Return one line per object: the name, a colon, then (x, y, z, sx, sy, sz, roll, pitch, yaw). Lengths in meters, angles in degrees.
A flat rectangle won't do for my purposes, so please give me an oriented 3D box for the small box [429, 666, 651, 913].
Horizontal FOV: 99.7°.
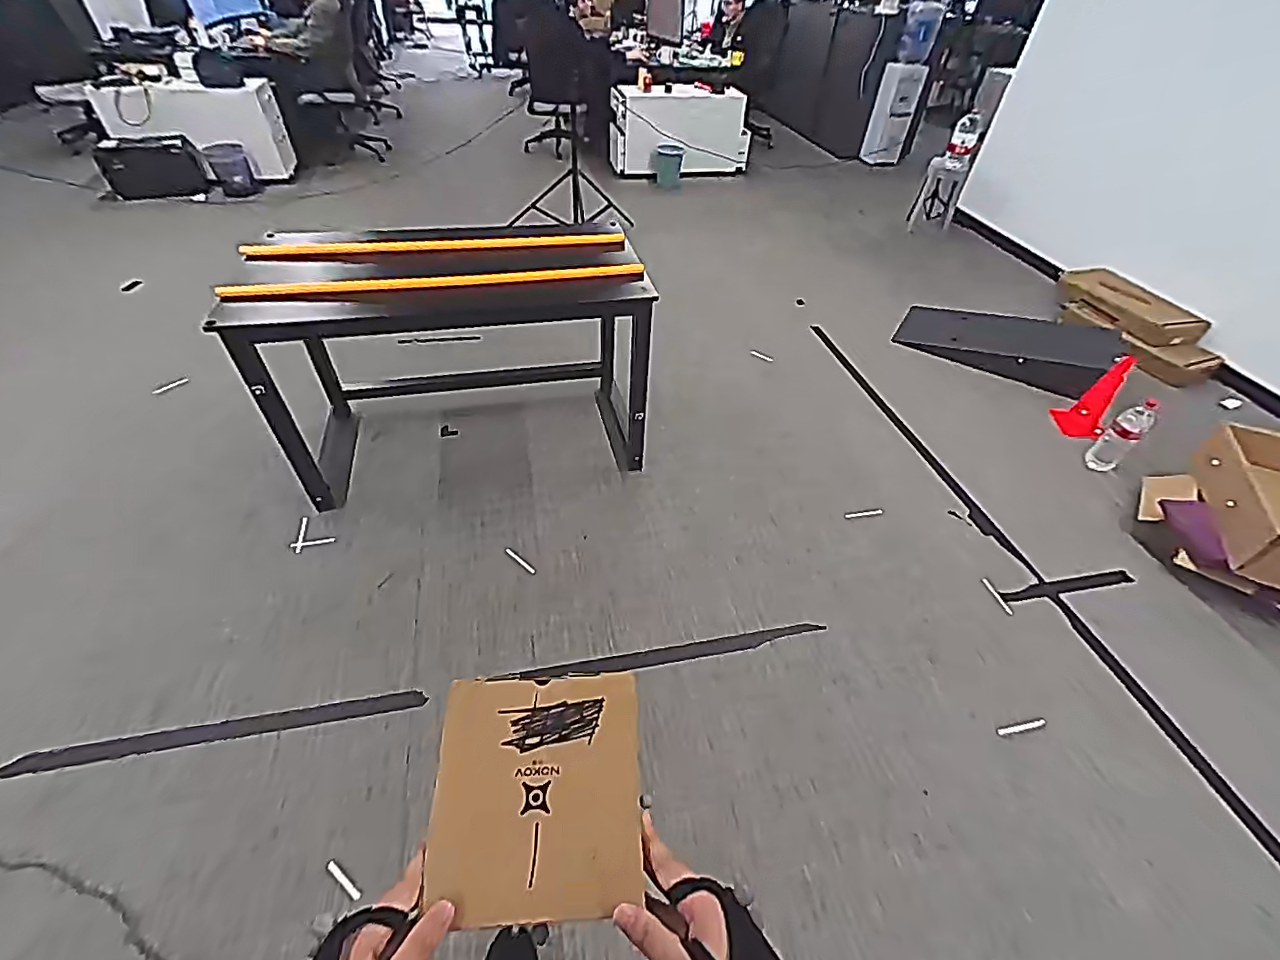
small box: (-0.081, 0.293, 0.511, 0.168, 0.176, 0.179, -2, 52, -4)
